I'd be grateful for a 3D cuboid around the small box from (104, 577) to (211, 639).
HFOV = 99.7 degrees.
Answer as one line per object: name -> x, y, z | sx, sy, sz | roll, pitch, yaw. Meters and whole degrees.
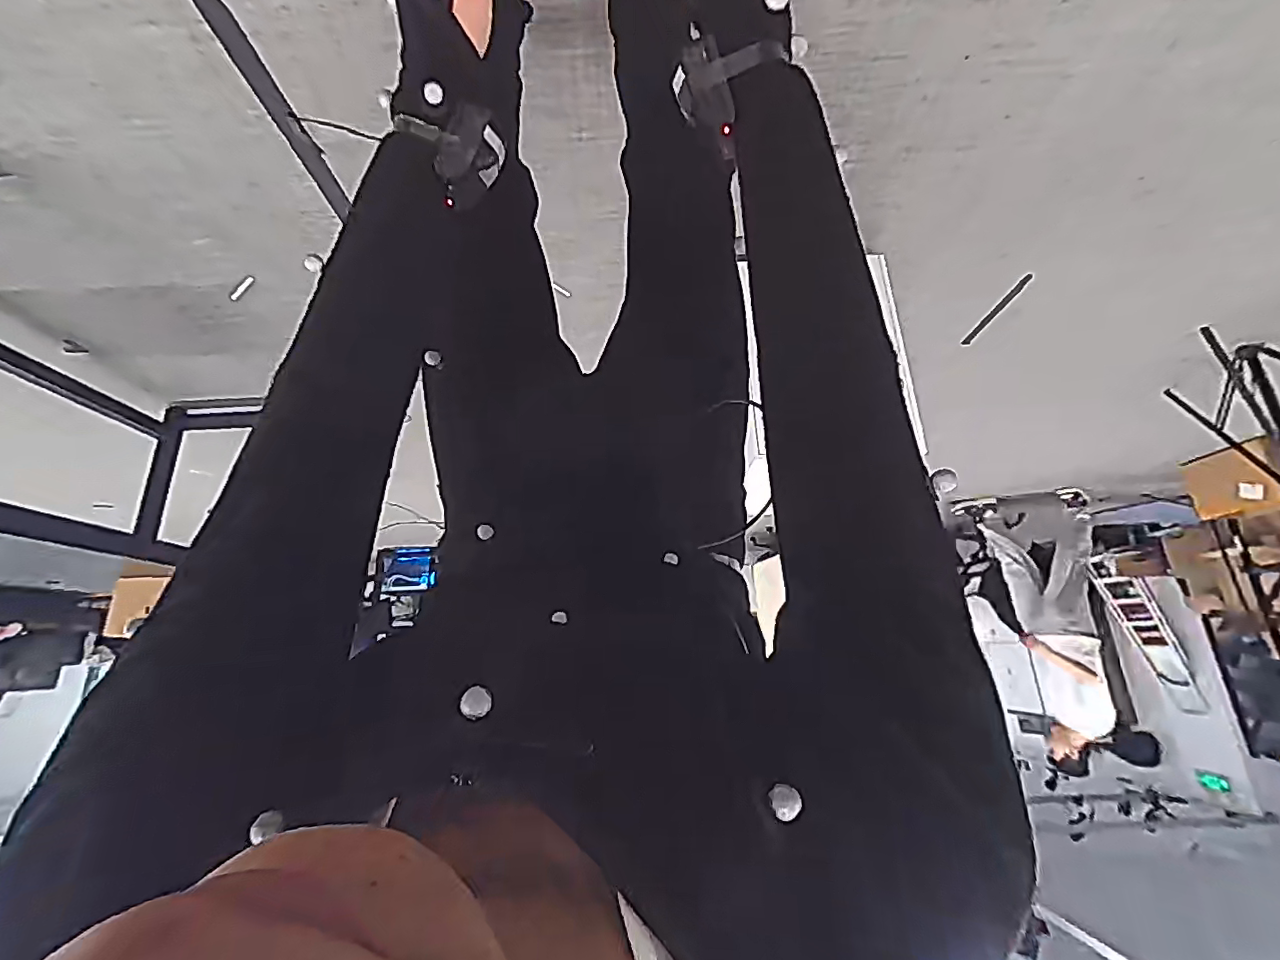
small box -> -1.444, 0.389, 1.635 | 0.179, 0.176, 0.168 | -1, 161, -4
